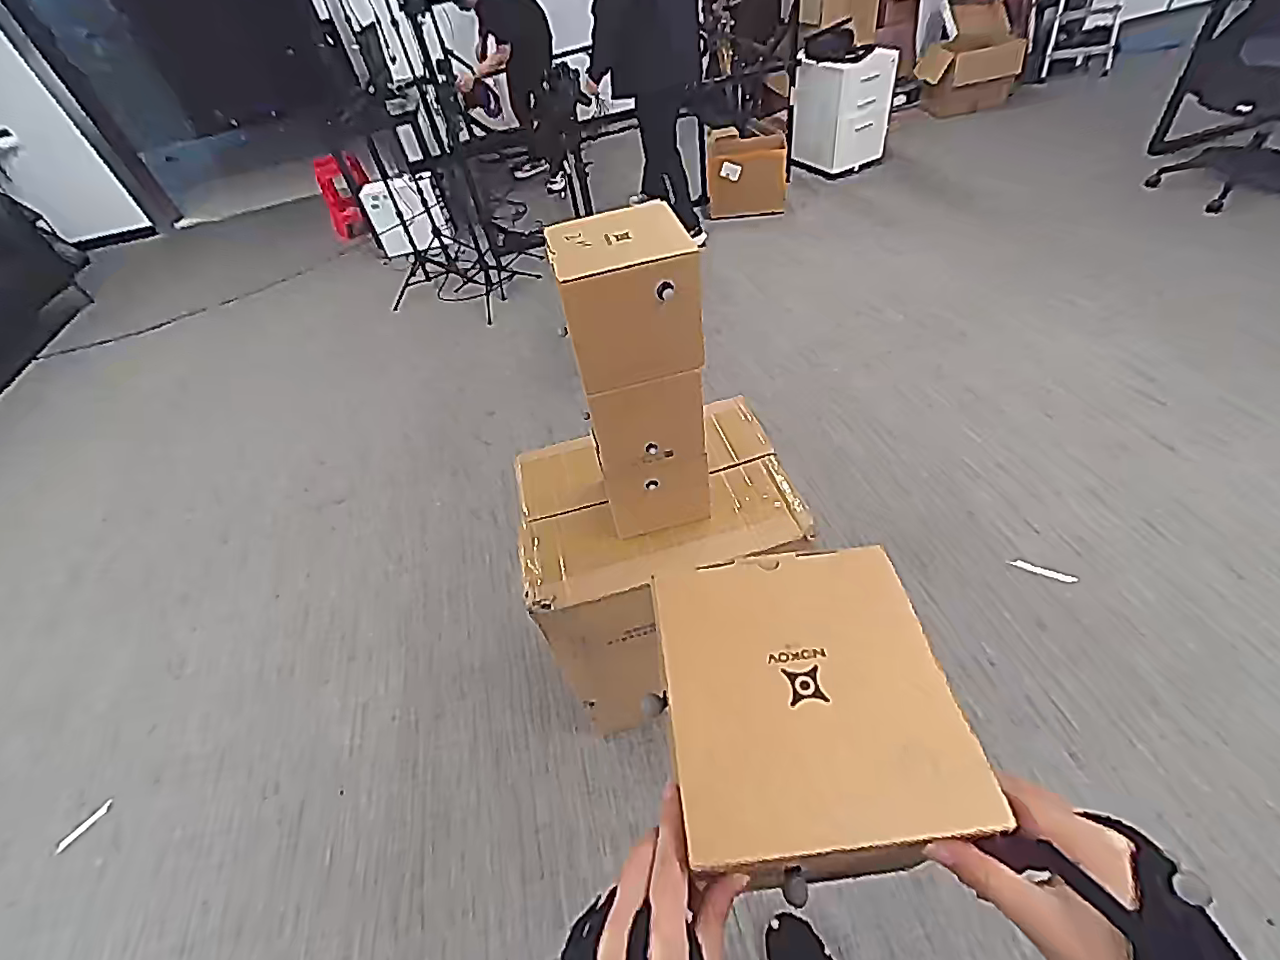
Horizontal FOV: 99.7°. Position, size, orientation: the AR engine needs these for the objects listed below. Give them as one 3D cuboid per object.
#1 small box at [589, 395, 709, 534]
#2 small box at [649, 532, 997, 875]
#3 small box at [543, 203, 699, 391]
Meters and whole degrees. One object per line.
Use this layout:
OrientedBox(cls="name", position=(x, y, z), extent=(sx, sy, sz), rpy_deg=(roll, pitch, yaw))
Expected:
OrientedBox(cls="small box", position=(0.018, -0.024, 0.984), extent=(0.179, 0.176, 0.168), rpy_deg=(-14, 46, -3))
OrientedBox(cls="small box", position=(0.102, 0.165, 0.388), extent=(0.168, 0.176, 0.179), rpy_deg=(-8, 47, -1))
OrientedBox(cls="small box", position=(-0.022, -0.250, 0.747), extent=(0.179, 0.176, 0.168), rpy_deg=(-15, 47, -3))
